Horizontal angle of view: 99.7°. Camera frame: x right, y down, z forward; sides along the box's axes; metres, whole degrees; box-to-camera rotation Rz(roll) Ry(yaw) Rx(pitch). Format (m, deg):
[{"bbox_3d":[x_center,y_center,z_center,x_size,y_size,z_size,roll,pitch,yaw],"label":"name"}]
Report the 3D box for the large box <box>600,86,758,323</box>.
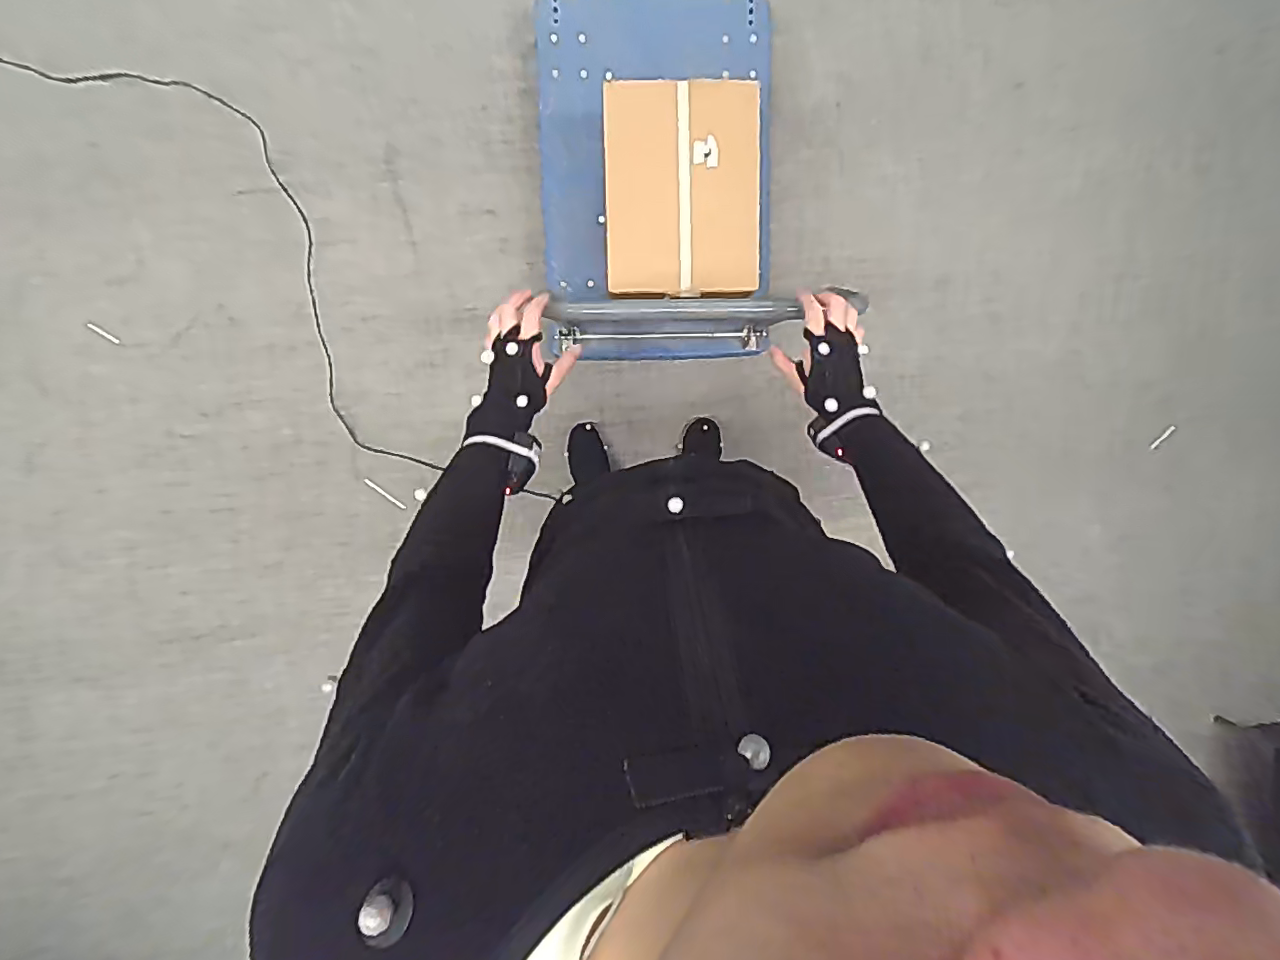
[{"bbox_3d":[0.077,-0.594,1.238,0.320,0.320,0.408,-2,96,-3],"label":"large box"}]
